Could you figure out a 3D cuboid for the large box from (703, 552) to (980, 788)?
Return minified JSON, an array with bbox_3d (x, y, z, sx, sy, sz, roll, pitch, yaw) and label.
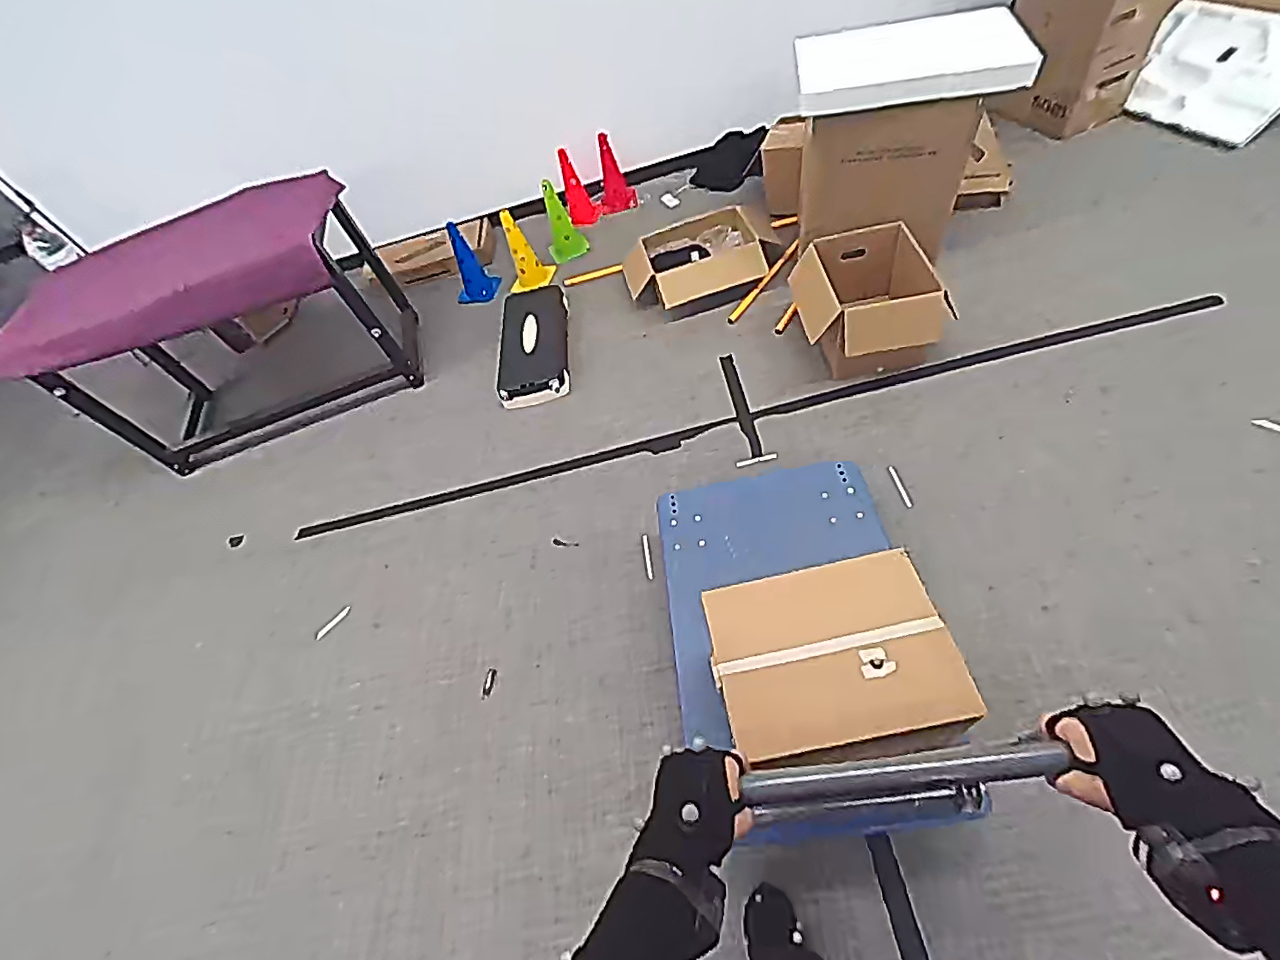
[{"bbox_3d":[0.365,0.393,1.091,0.408,0.320,0.320,-13,53,3],"label":"large box"}]
